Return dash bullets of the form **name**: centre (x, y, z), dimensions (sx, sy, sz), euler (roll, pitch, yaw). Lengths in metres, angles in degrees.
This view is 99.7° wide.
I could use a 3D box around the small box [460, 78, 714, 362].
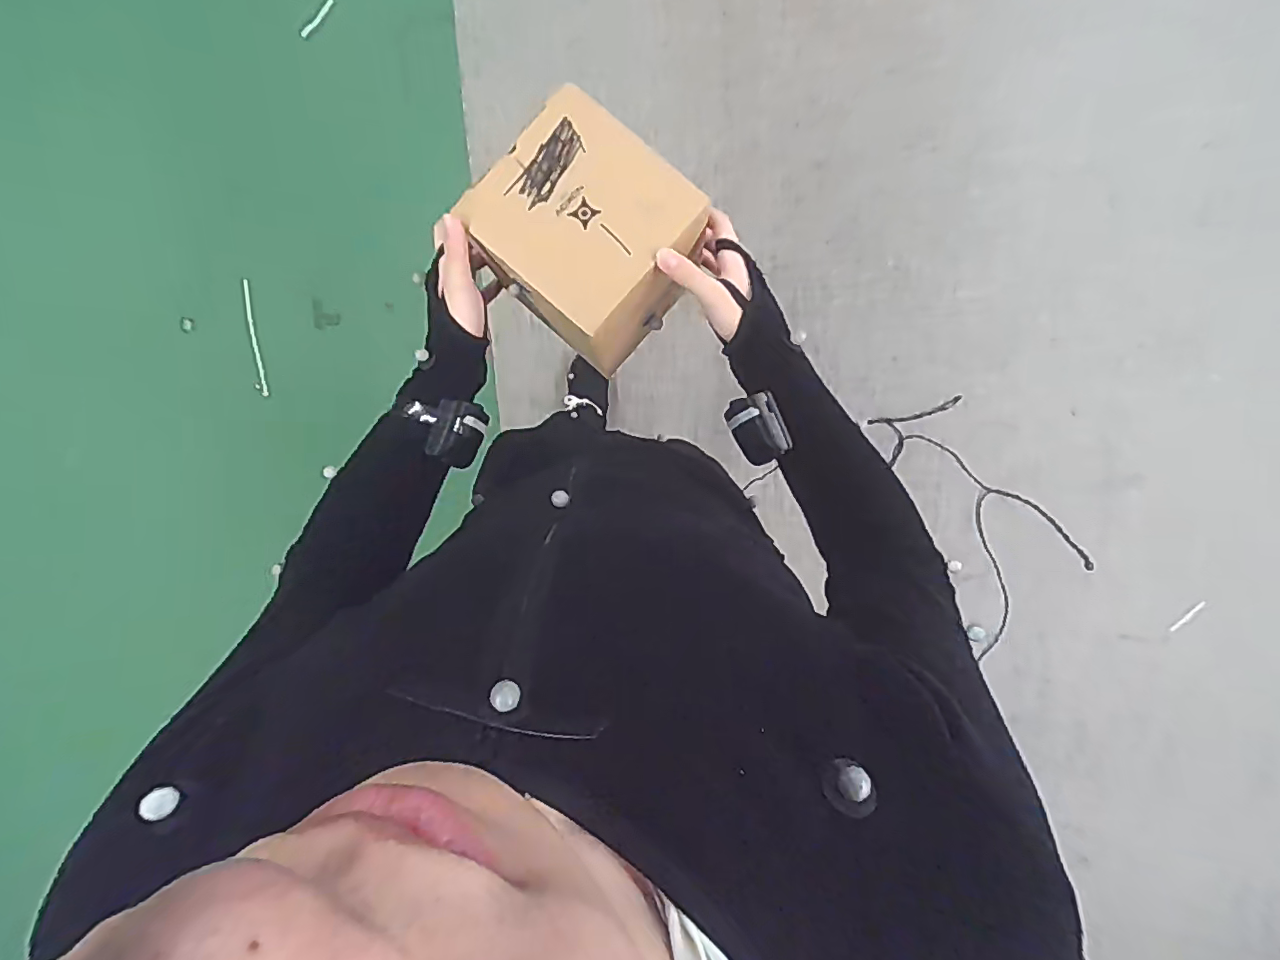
- **small box**: centre (-0.048, -0.251, 0.570), dimensions (0.179, 0.176, 0.168), euler (42, 89, 2)
